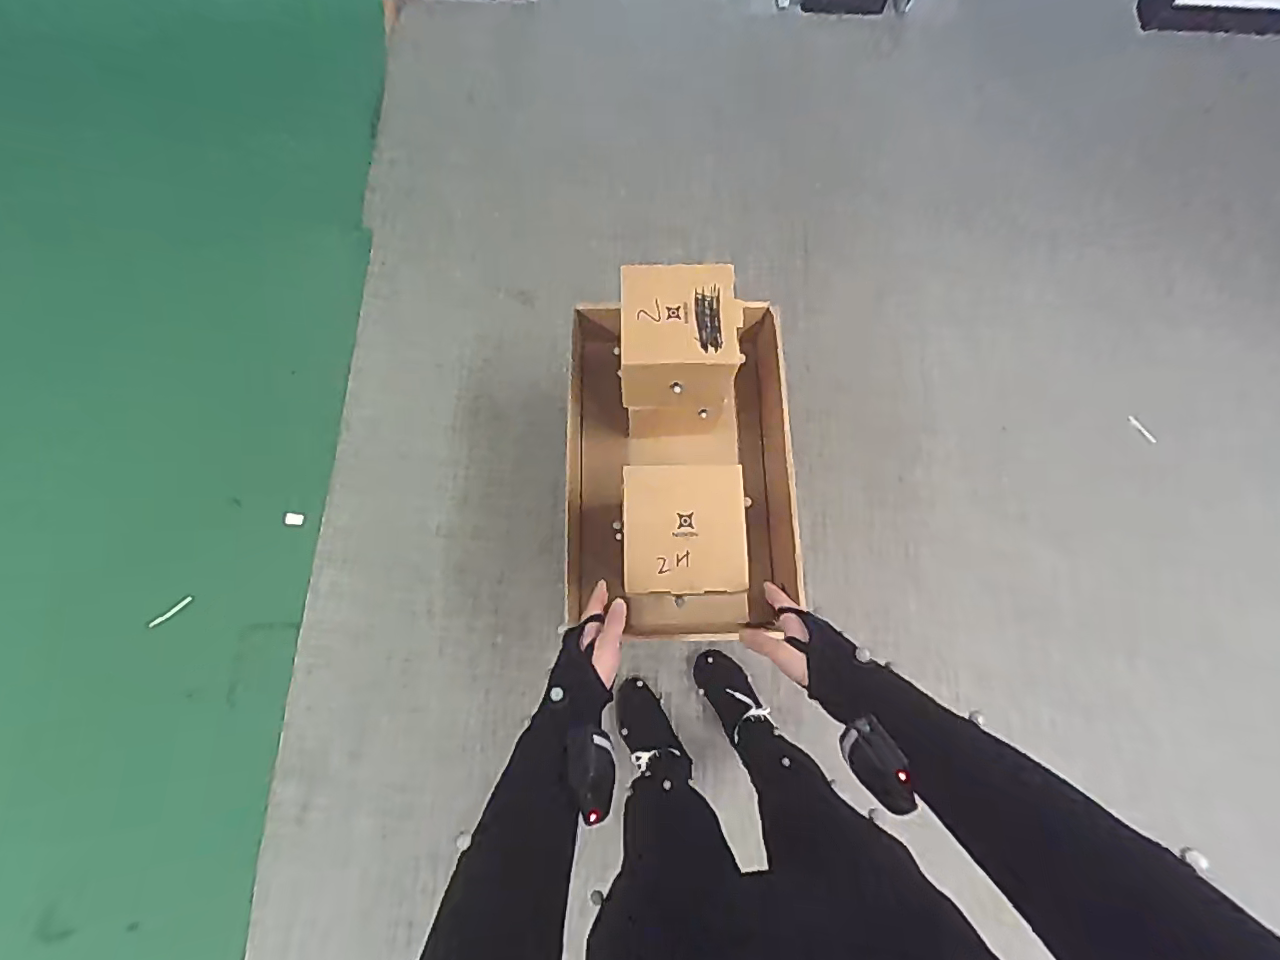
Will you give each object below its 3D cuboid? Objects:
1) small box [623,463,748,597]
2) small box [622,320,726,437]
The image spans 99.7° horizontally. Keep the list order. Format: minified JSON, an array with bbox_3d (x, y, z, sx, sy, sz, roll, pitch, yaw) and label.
[{"bbox_3d":[0.059,0.081,0.797,0.168,0.176,0.179,0,77,0],"label":"small box"},{"bbox_3d":[0.058,-0.186,1.034,0.179,0.176,0.168,-4,76,-3],"label":"small box"}]
